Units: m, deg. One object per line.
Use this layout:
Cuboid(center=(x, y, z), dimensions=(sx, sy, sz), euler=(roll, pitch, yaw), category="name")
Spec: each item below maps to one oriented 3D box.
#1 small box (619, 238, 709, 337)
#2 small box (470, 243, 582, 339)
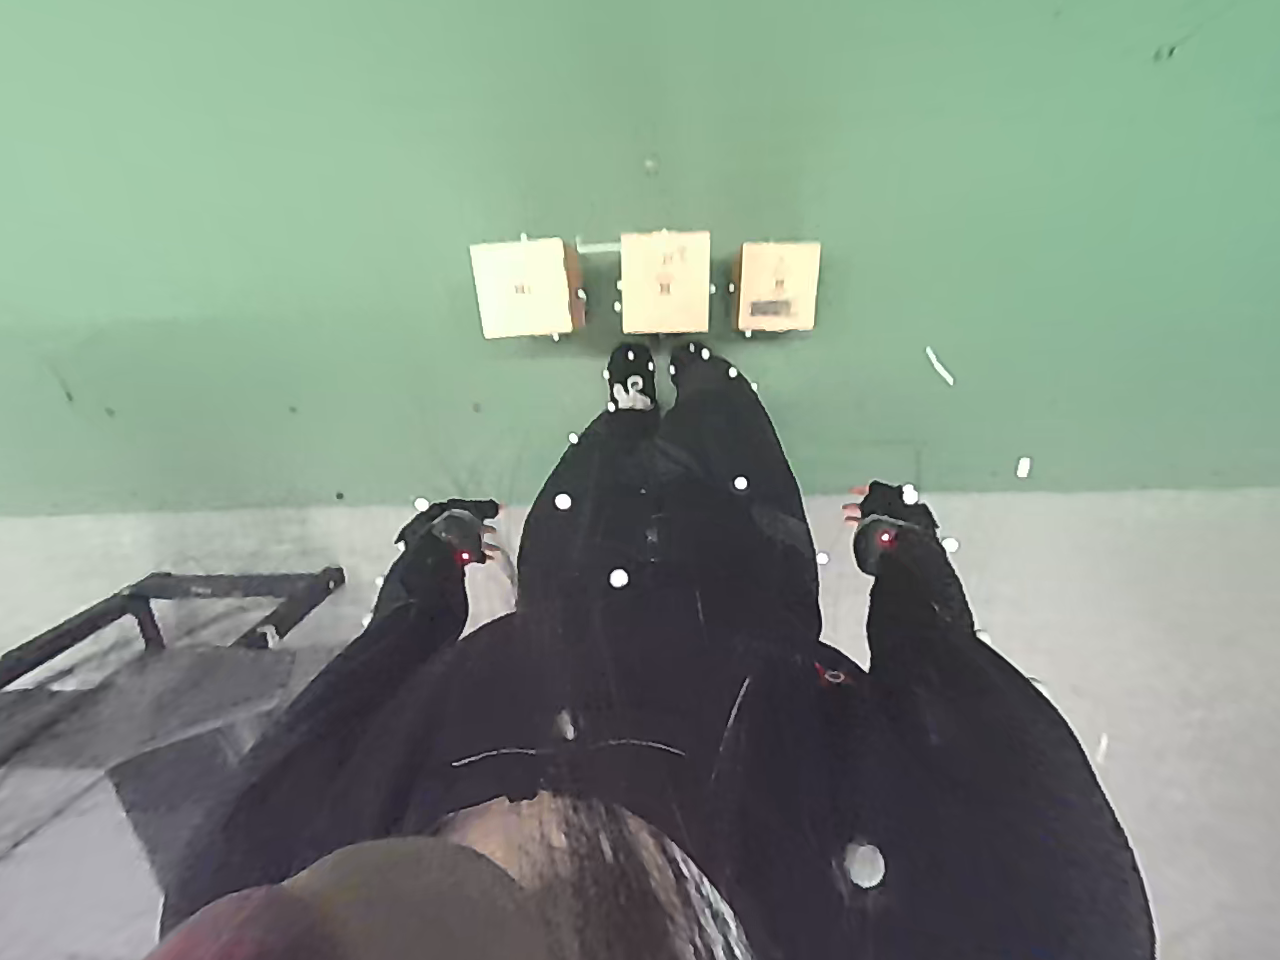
Cuboid(center=(0.046, -0.384, 1.084), dimensions=(0.168, 0.176, 0.179), euler=(0, 108, 1), category="small box")
Cuboid(center=(-0.221, -0.377, 1.096), dimensions=(0.179, 0.176, 0.168), euler=(-4, 108, 2), category="small box")
